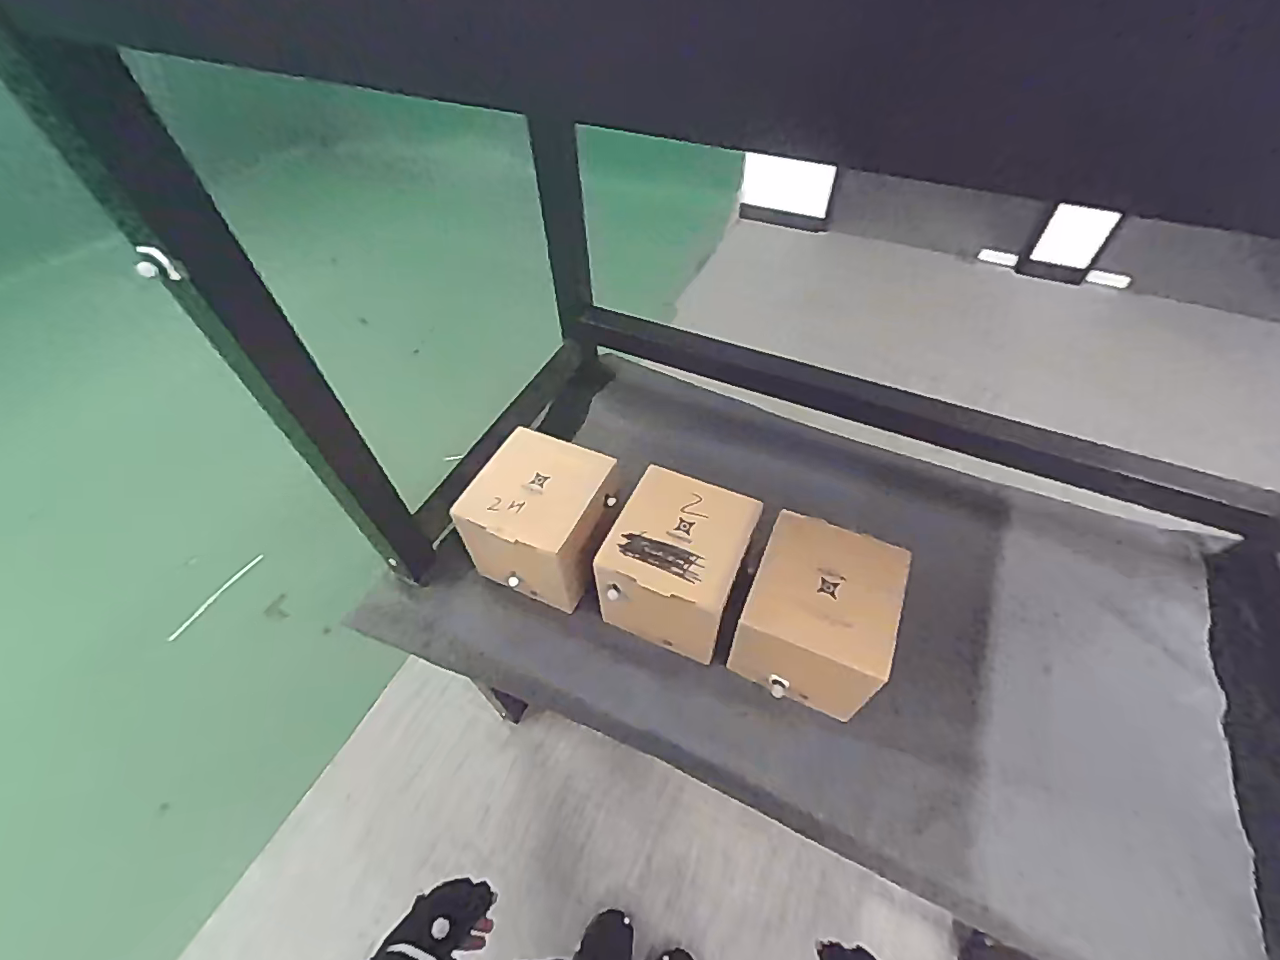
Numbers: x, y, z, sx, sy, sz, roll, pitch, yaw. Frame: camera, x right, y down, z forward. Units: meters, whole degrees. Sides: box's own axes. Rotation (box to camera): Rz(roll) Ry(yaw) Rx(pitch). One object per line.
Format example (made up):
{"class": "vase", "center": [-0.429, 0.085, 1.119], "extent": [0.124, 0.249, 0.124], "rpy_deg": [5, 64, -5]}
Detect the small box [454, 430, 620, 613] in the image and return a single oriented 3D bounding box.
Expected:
{"class": "small box", "center": [-0.138, 0.062, 0.797], "extent": [0.168, 0.176, 0.179], "rpy_deg": [19, 54, 16]}
